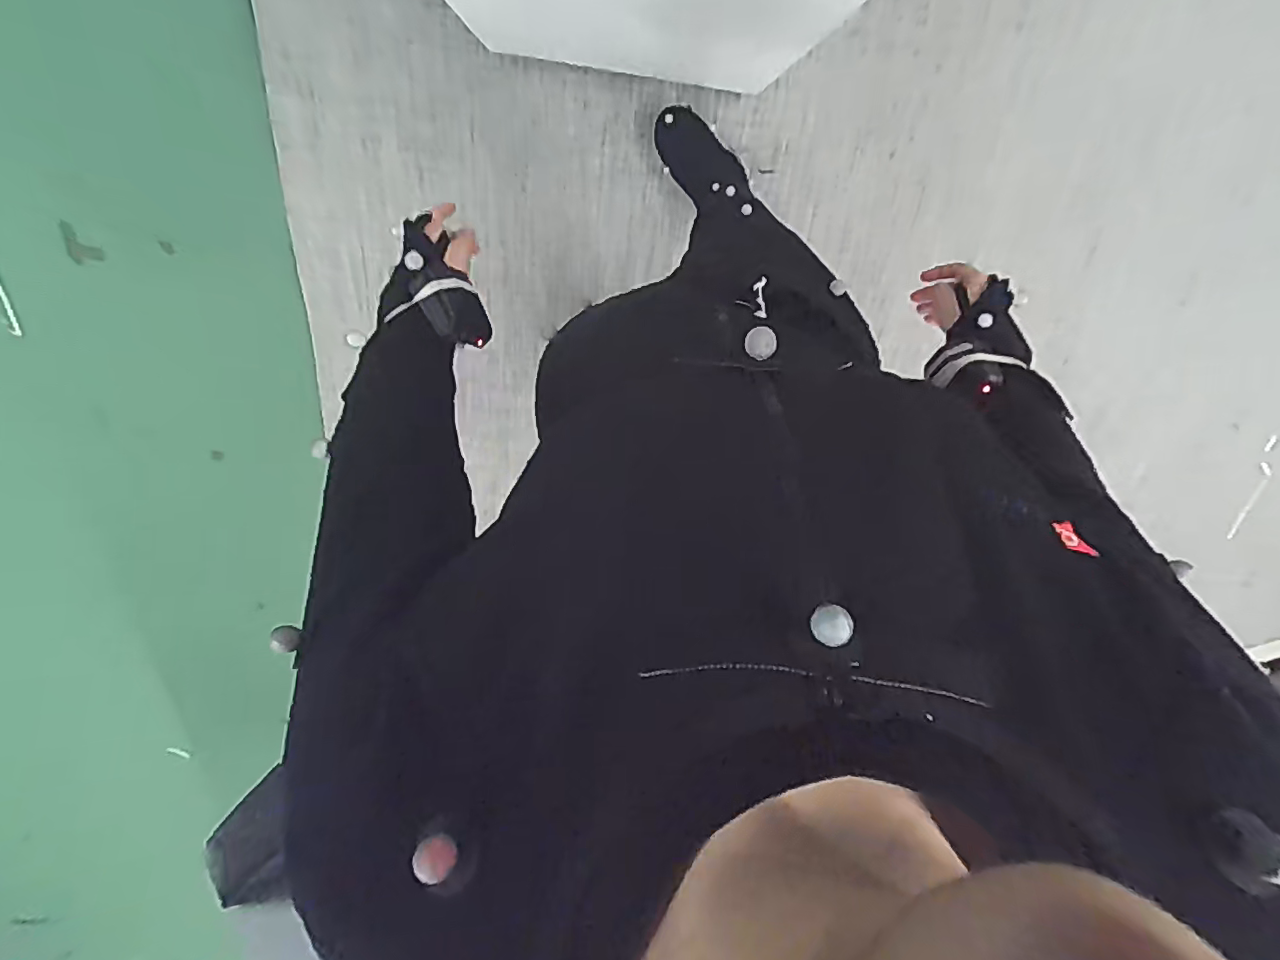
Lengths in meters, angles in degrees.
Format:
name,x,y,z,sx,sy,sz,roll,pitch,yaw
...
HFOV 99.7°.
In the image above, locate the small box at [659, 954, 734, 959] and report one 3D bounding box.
name,x,y,z,sx,sy,sz,roll,pitch,yaw
small box,0.103,1.075,1.069,0.179,0.176,0.168,3,118,-4
